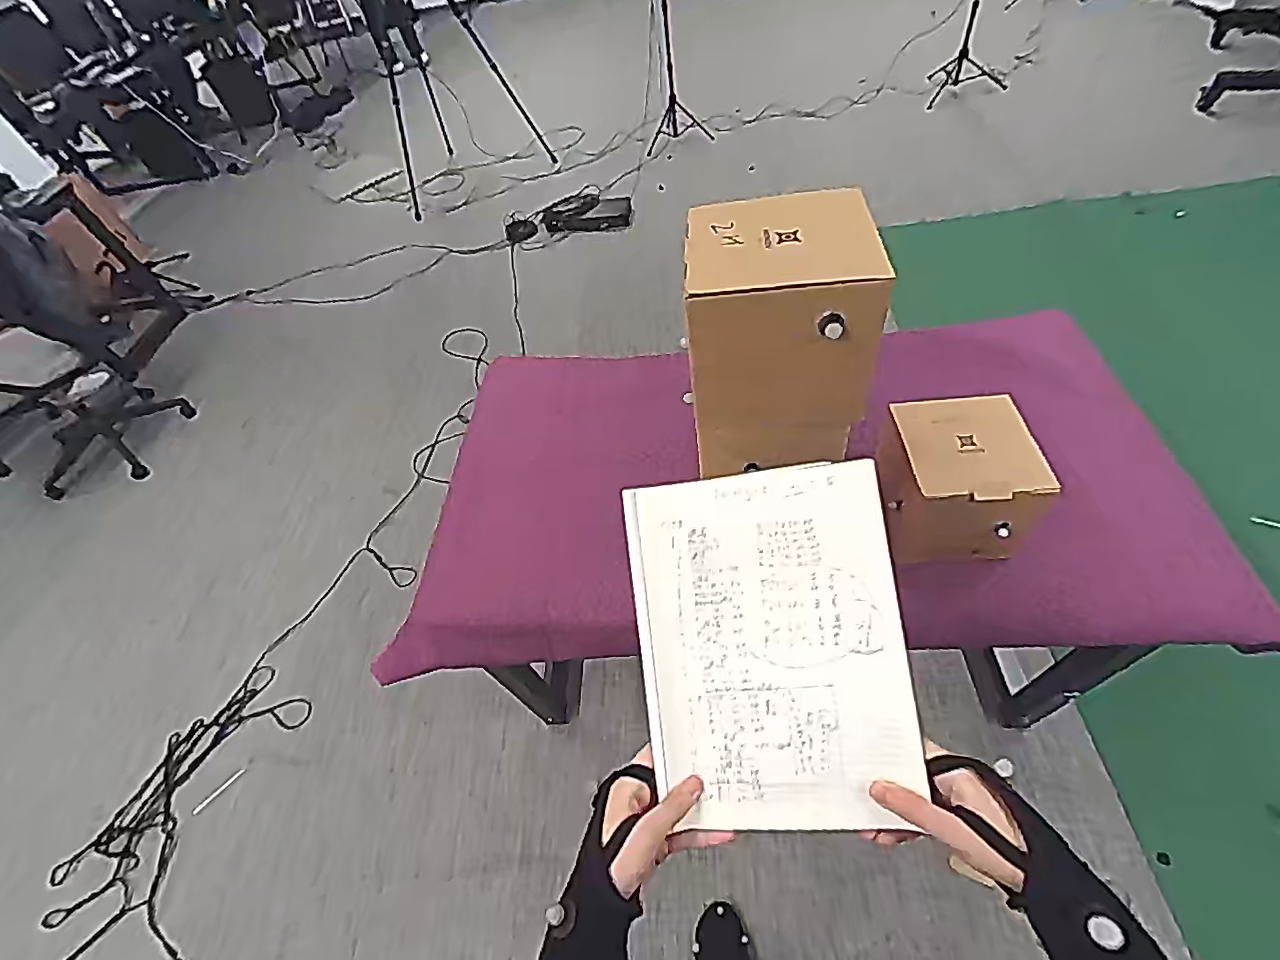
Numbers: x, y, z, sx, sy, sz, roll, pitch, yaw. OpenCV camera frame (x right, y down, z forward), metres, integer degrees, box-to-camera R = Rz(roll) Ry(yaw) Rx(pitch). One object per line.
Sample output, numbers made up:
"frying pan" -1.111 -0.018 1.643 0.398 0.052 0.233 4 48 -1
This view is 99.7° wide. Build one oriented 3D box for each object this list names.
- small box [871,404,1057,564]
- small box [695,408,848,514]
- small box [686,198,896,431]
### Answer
"small box" 0.453 0.013 0.791 0.168 0.176 0.179 -3 50 8
"small box" 0.161 -0.067 0.699 0.168 0.176 0.179 -3 50 9
"small box" 0.145 -0.166 0.568 0.179 0.176 0.168 -2 50 10
